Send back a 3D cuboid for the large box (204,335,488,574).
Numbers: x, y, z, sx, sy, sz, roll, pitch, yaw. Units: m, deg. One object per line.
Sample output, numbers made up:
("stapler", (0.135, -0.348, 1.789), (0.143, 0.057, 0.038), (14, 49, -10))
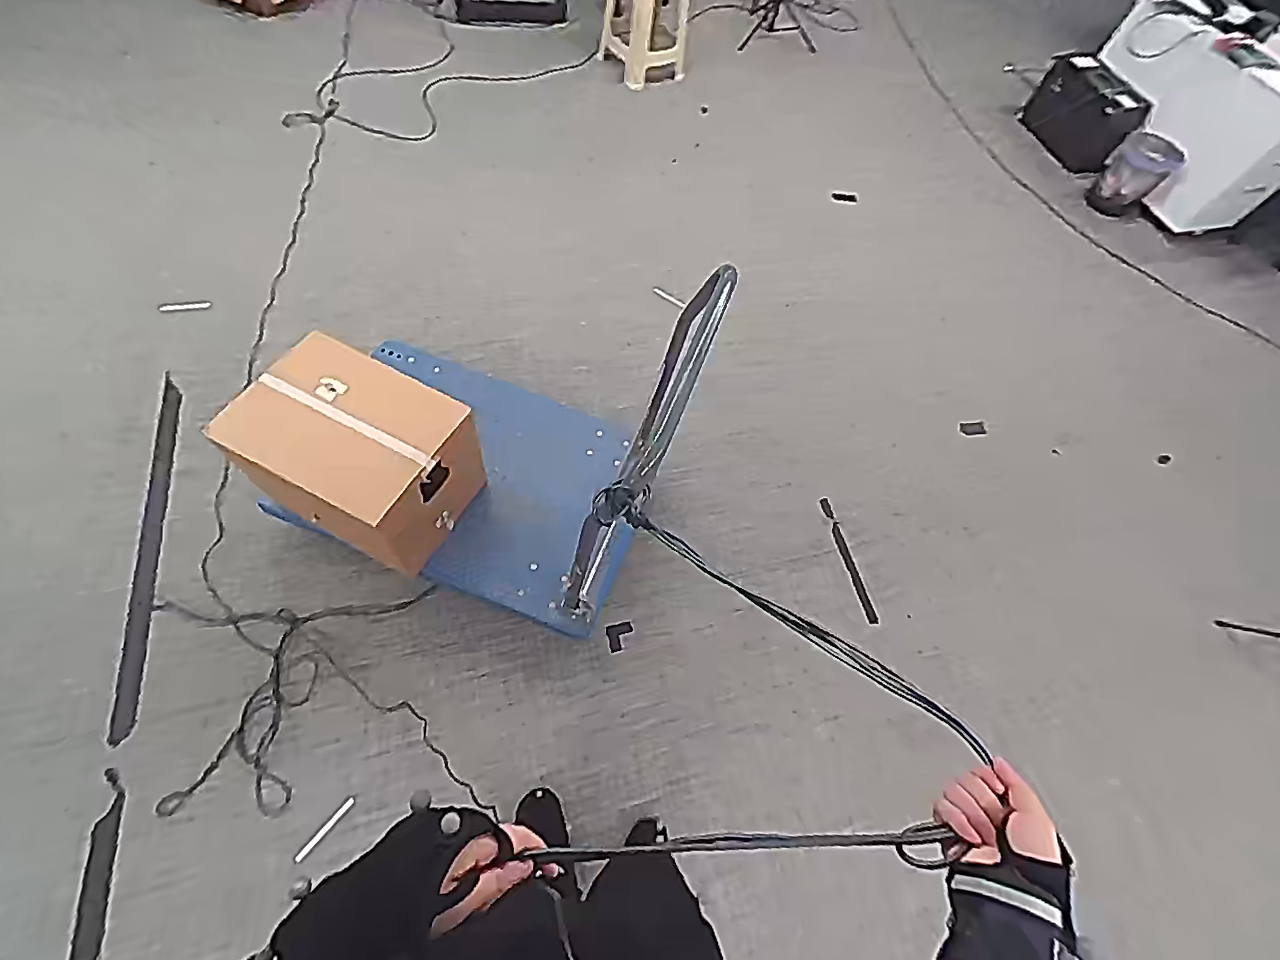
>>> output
("large box", (-0.606, -0.045, 1.208), (0.408, 0.320, 0.320), (26, 60, 6))
